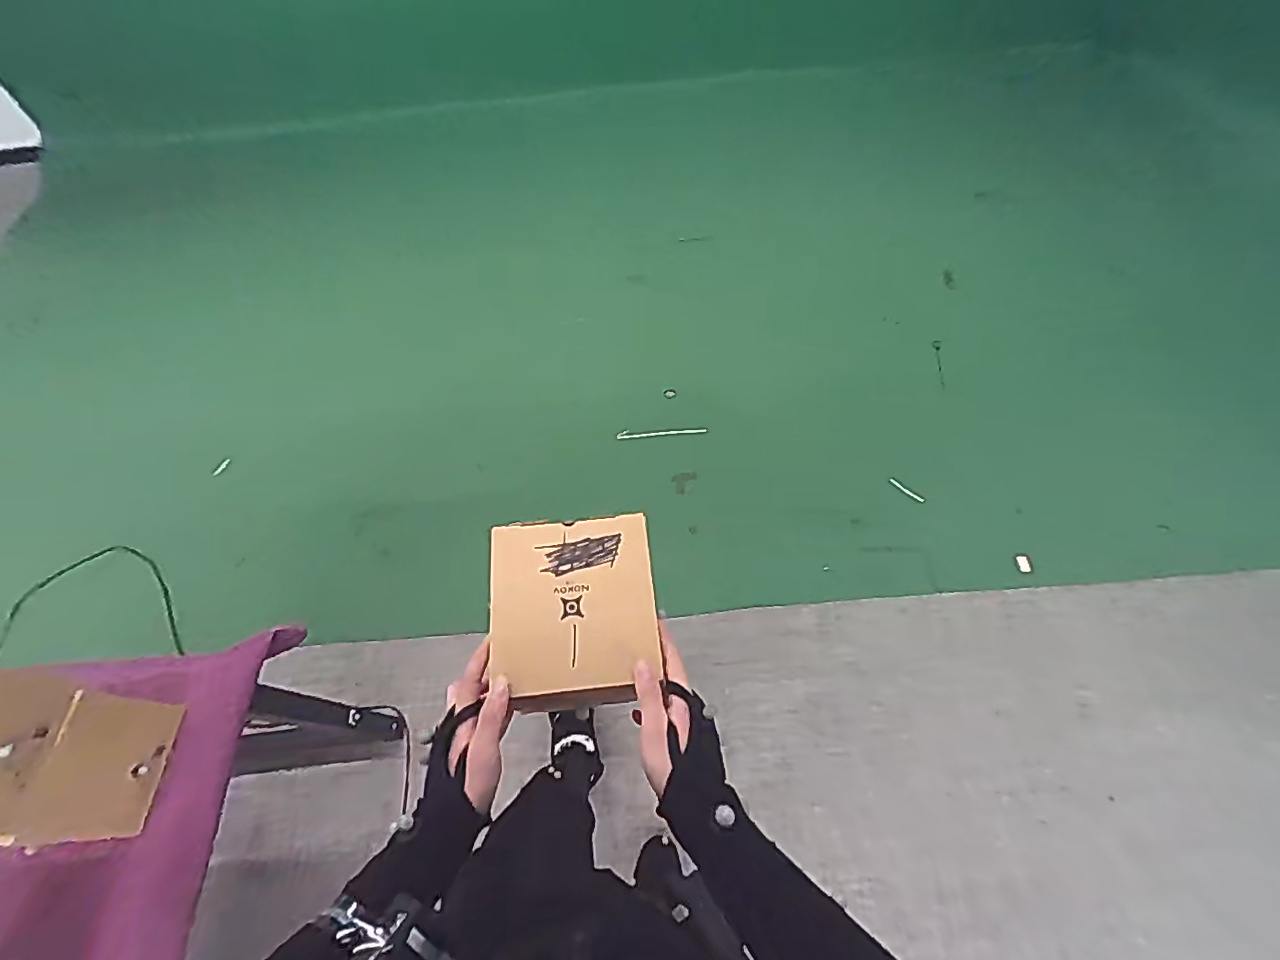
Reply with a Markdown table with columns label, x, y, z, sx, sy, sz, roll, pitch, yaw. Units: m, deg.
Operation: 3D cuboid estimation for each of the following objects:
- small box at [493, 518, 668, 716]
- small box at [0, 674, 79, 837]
| label | x | y | z | sx | sy | sz | roll | pitch | yaw |
| --- | --- | --- | --- | --- | --- | --- | --- | --- | --- |
| small box | -0.063 | 0.159 | 0.610 | 0.168 | 0.176 | 0.179 | -5 | 63 | -2 |
| small box | -0.798 | 0.302 | 0.584 | 0.179 | 0.176 | 0.168 | -5 | 60 | 3 |
